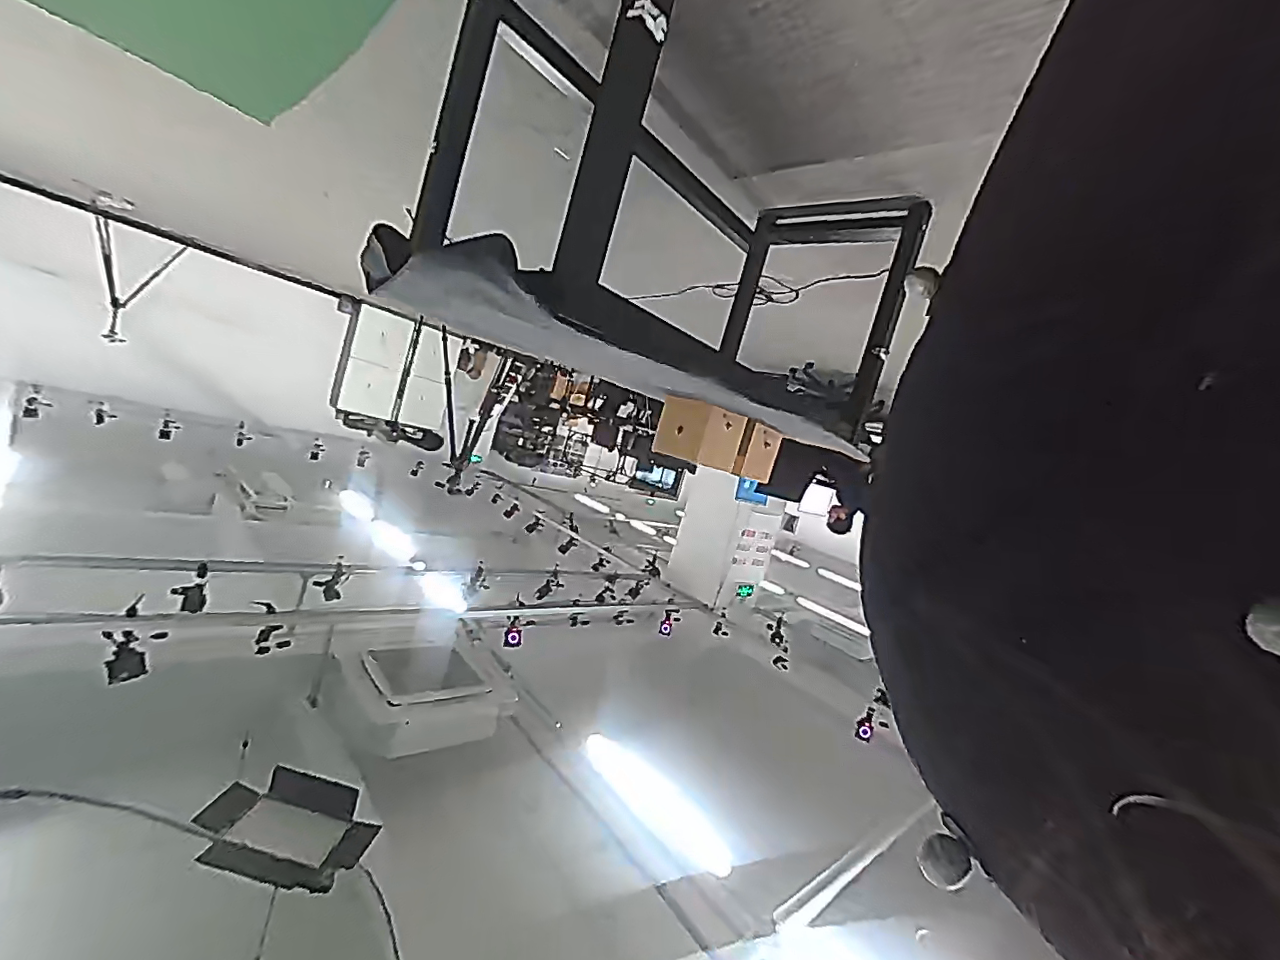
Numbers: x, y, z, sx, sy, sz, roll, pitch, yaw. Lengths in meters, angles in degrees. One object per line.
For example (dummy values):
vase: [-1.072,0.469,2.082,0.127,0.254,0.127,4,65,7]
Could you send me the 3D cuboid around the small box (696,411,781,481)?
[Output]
small box: [0.309,-0.110,1.679,0.179,0.176,0.168,20,-174,43]
